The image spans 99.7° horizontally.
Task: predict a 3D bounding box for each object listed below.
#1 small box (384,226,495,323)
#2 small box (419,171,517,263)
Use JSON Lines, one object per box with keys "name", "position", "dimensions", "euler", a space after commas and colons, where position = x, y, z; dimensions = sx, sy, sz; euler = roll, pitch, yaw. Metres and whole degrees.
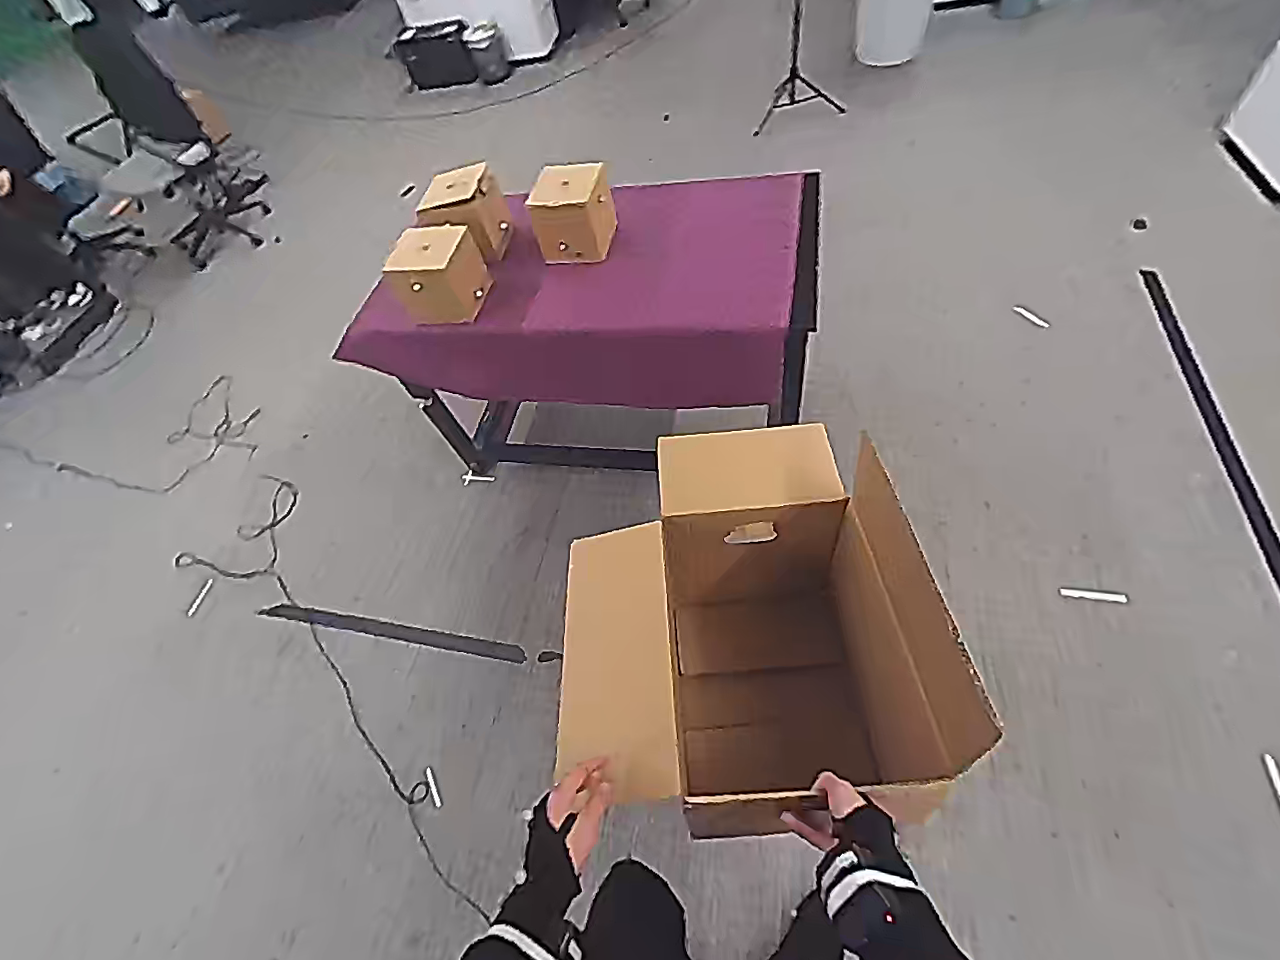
{"name": "small box", "position": [-0.498, -0.513, 1.366], "dimensions": [0.179, 0.176, 0.168], "euler": [4, 59, 13]}
{"name": "small box", "position": [-0.466, -0.718, 1.491], "dimensions": [0.179, 0.176, 0.168], "euler": [2, 59, 12]}
